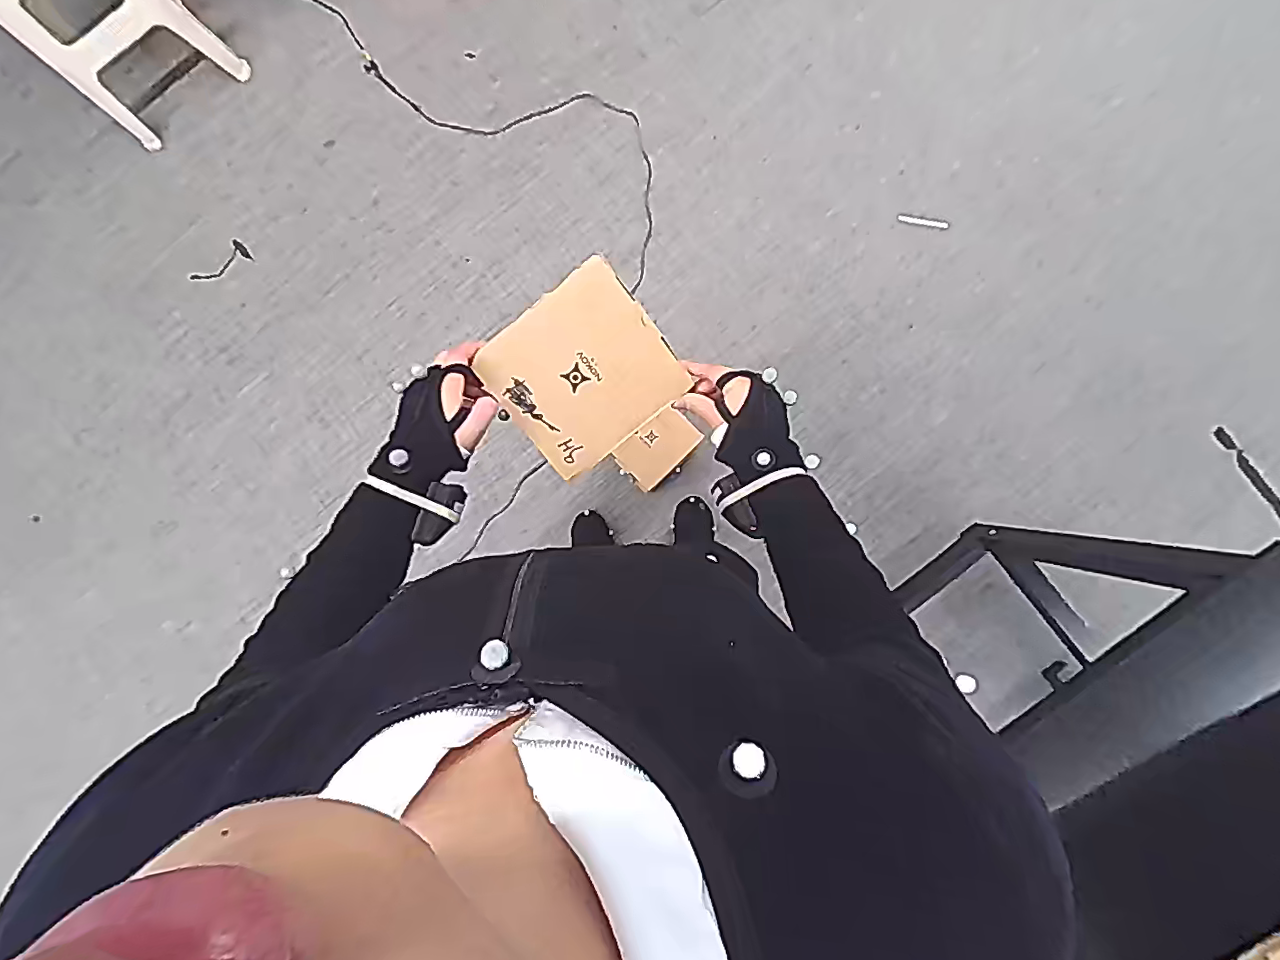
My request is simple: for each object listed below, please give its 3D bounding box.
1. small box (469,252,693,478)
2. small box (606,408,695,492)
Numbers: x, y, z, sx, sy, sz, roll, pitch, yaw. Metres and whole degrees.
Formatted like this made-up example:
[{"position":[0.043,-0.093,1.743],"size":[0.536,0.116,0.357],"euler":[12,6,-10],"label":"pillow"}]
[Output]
[{"position":[-0.064,-0.130,0.633],"size":[0.179,0.176,0.168],"euler":[-38,100,5],"label":"small box"},{"position":[0.022,-0.085,1.428],"size":[0.179,0.176,0.168],"euler":[-42,87,1],"label":"small box"}]
